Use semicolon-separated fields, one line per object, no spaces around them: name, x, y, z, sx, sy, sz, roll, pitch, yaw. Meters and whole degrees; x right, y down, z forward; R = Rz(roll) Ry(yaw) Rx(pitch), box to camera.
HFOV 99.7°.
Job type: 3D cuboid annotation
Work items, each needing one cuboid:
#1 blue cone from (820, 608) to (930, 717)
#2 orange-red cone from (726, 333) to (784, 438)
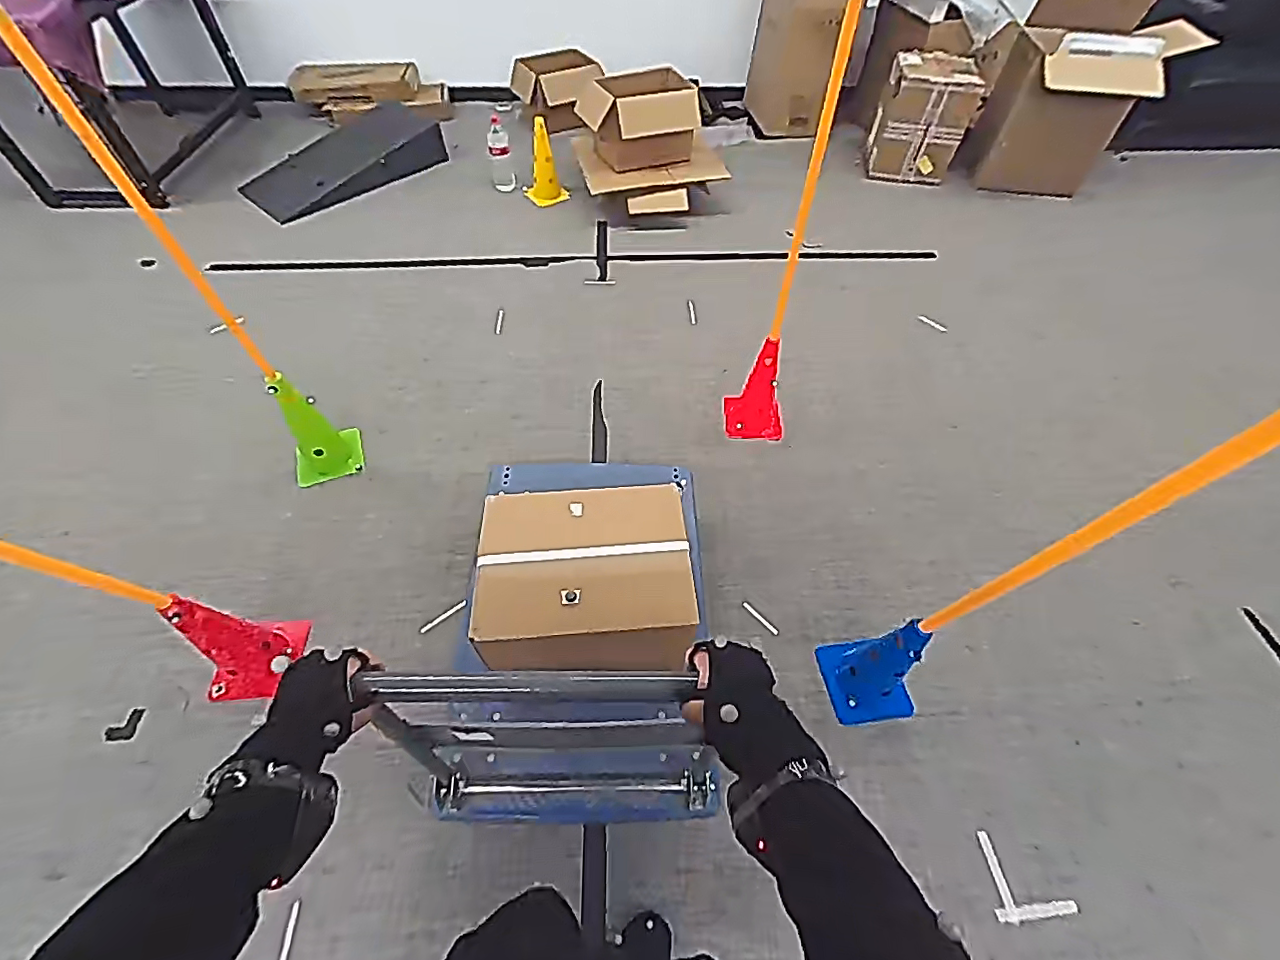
blue cone;0.579;0.401;1.254;0.193;0.380;0.192;-5;53;-5
orange-red cone;0.409;-0.329;1.773;0.199;0.360;0.198;4;54;1
